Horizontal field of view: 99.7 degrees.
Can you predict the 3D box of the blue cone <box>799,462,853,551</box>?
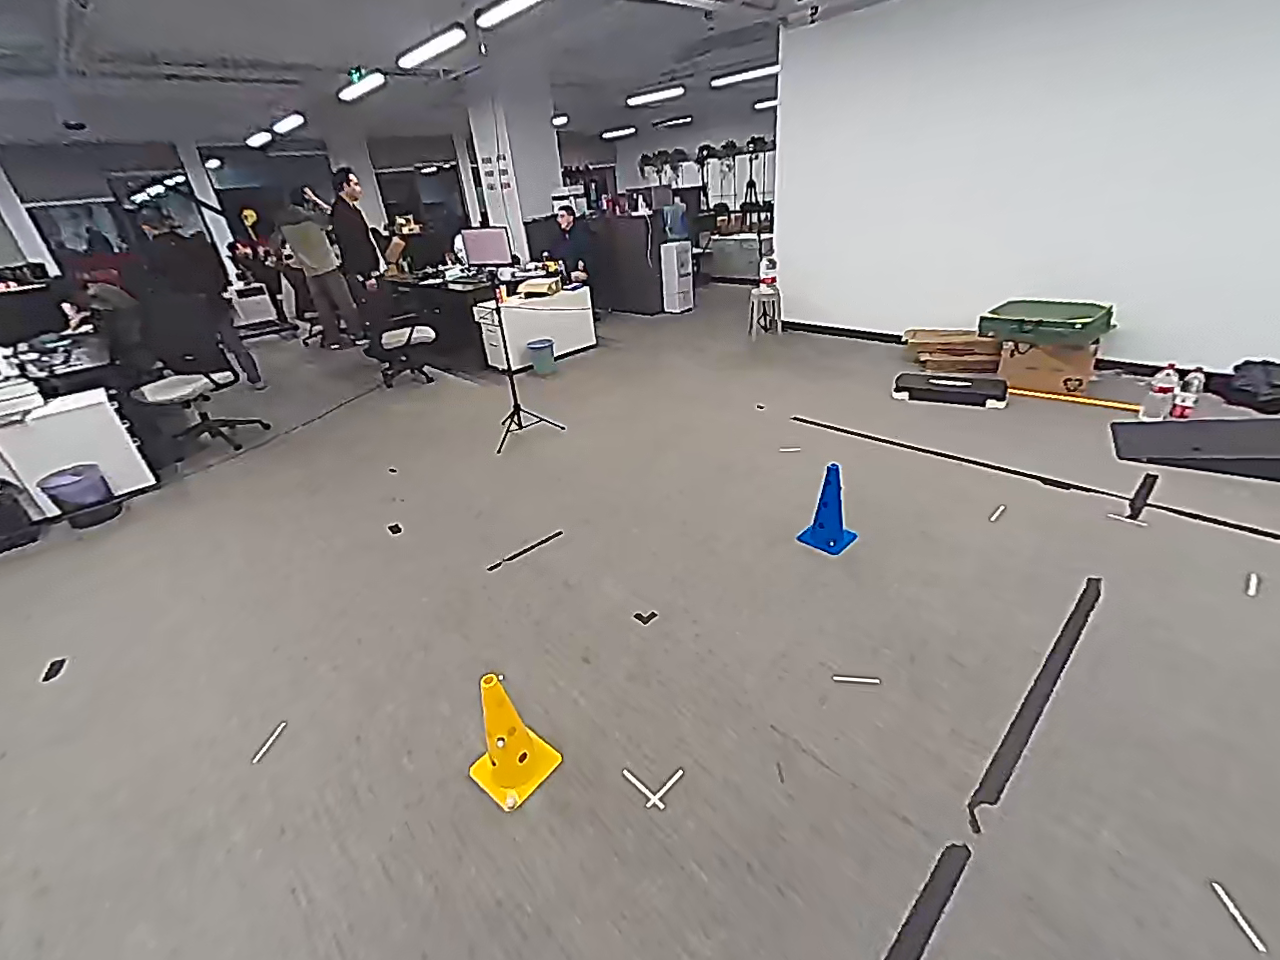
[{"bbox_3d":[0.800,0.101,2.288,0.193,0.380,0.192,-27,34,-34],"label":"blue cone"}]
